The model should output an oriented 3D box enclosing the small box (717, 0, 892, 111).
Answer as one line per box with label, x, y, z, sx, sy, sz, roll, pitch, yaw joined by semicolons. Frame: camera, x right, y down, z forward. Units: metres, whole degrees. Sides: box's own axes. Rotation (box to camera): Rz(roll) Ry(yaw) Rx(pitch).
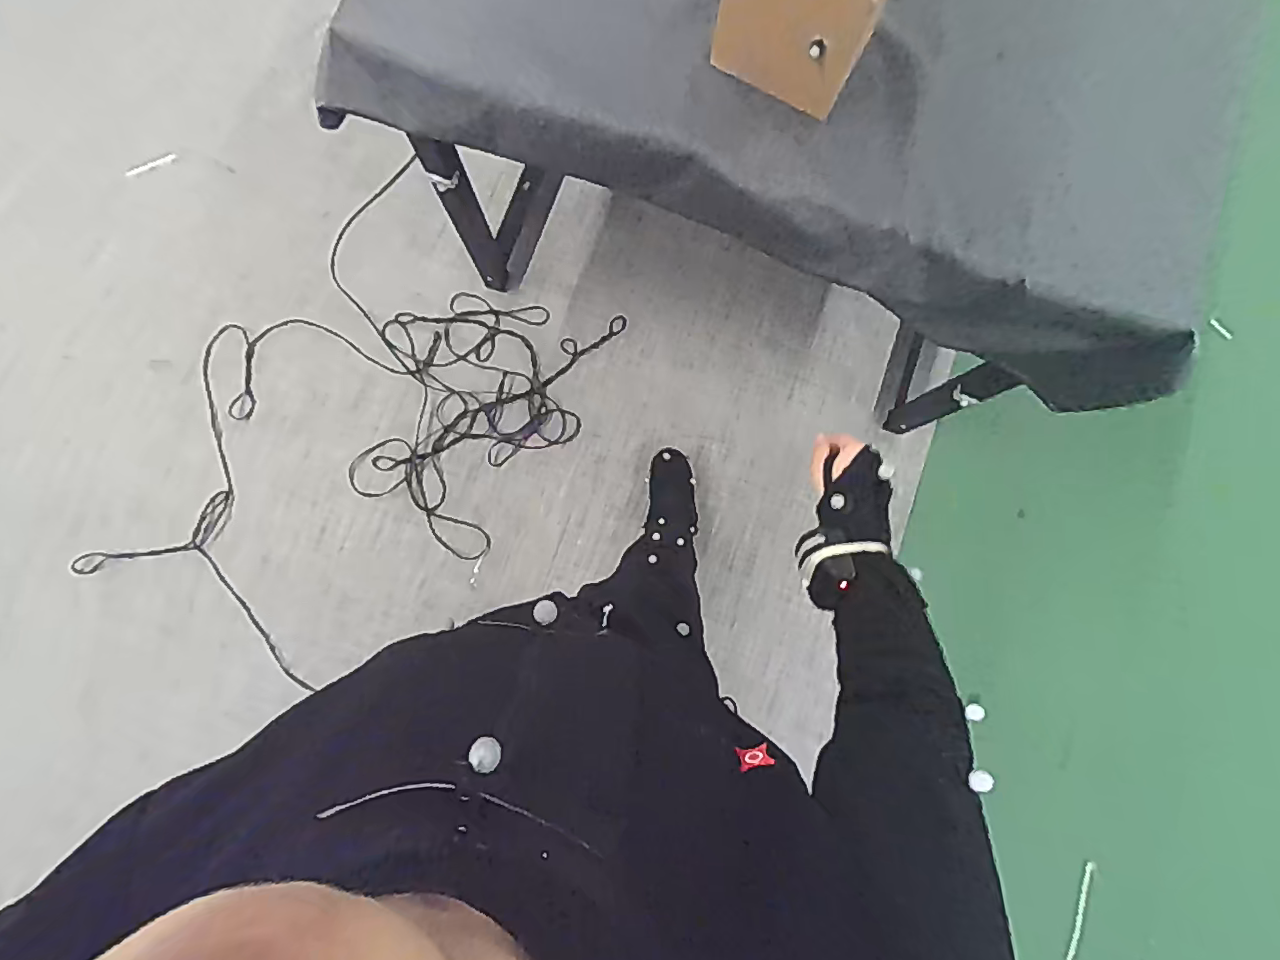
small box;0.216;-0.599;0.656;0.179;0.176;0.168;28;81;2
